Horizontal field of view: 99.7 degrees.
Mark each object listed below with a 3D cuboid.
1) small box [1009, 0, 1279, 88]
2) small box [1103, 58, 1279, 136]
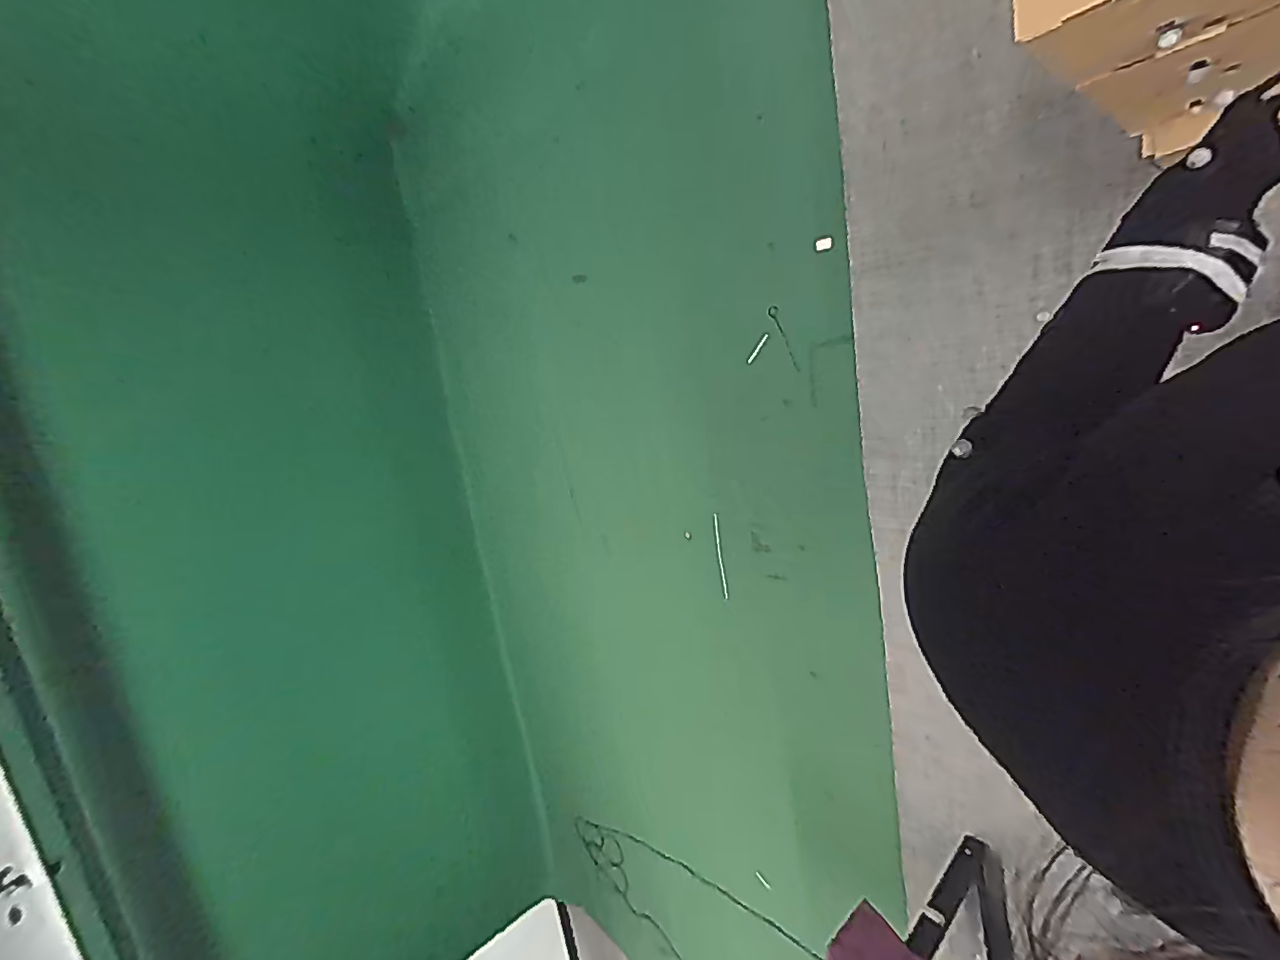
[{"bbox_3d":[0.405,-0.447,0.416,0.168,0.176,0.179,5,109,49],"label":"small box"},{"bbox_3d":[0.652,-0.530,0.618,0.168,0.176,0.179,3,107,49],"label":"small box"}]
